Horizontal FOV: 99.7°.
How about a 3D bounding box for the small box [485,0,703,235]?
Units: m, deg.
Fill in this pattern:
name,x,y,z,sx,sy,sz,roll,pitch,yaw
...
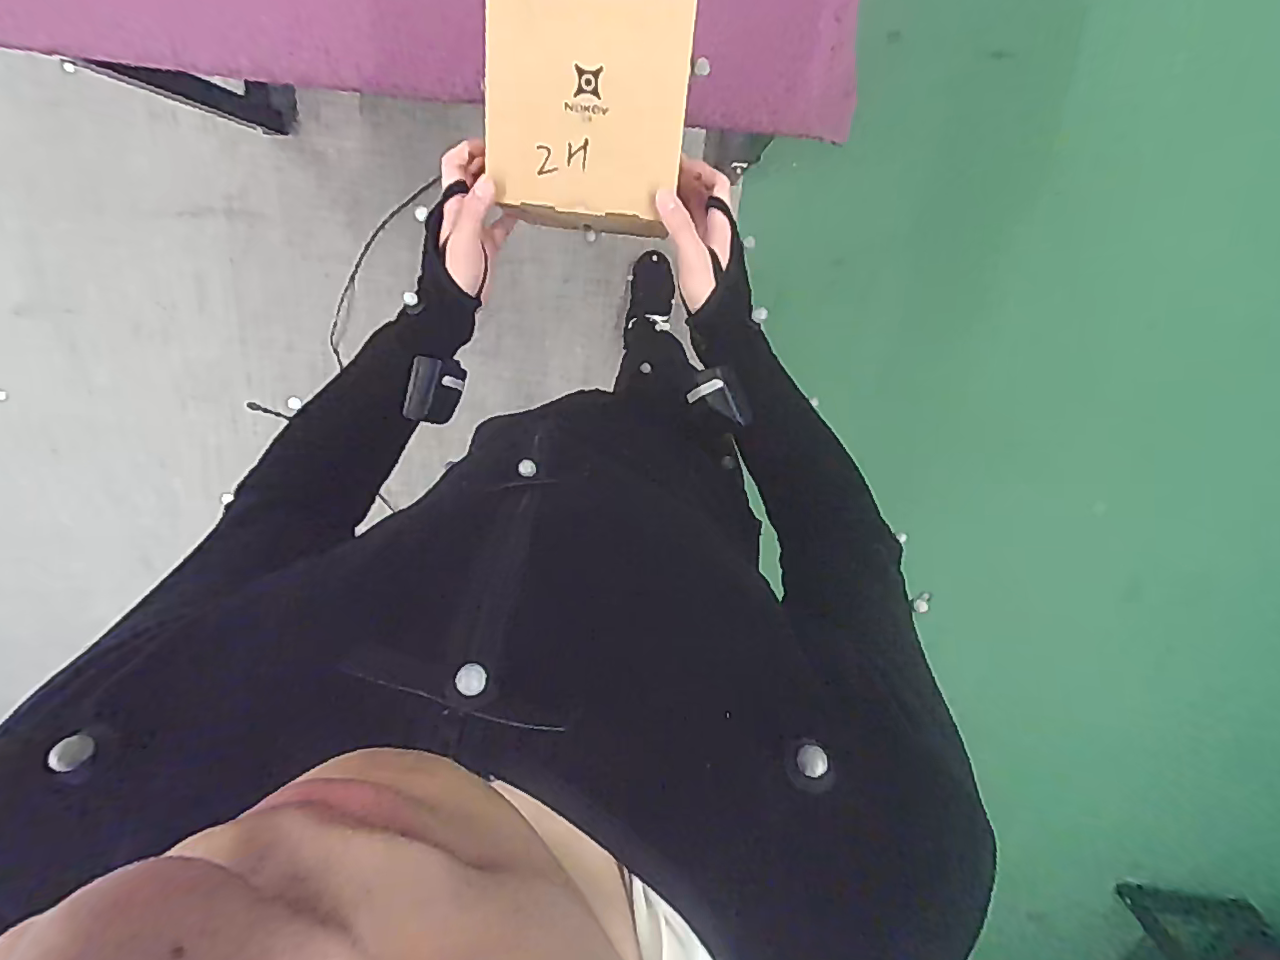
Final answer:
name,x,y,z,sx,sy,sz,roll,pitch,yaw
small box,-0.040,-0.344,0.510,0.168,0.176,0.179,6,109,-1
